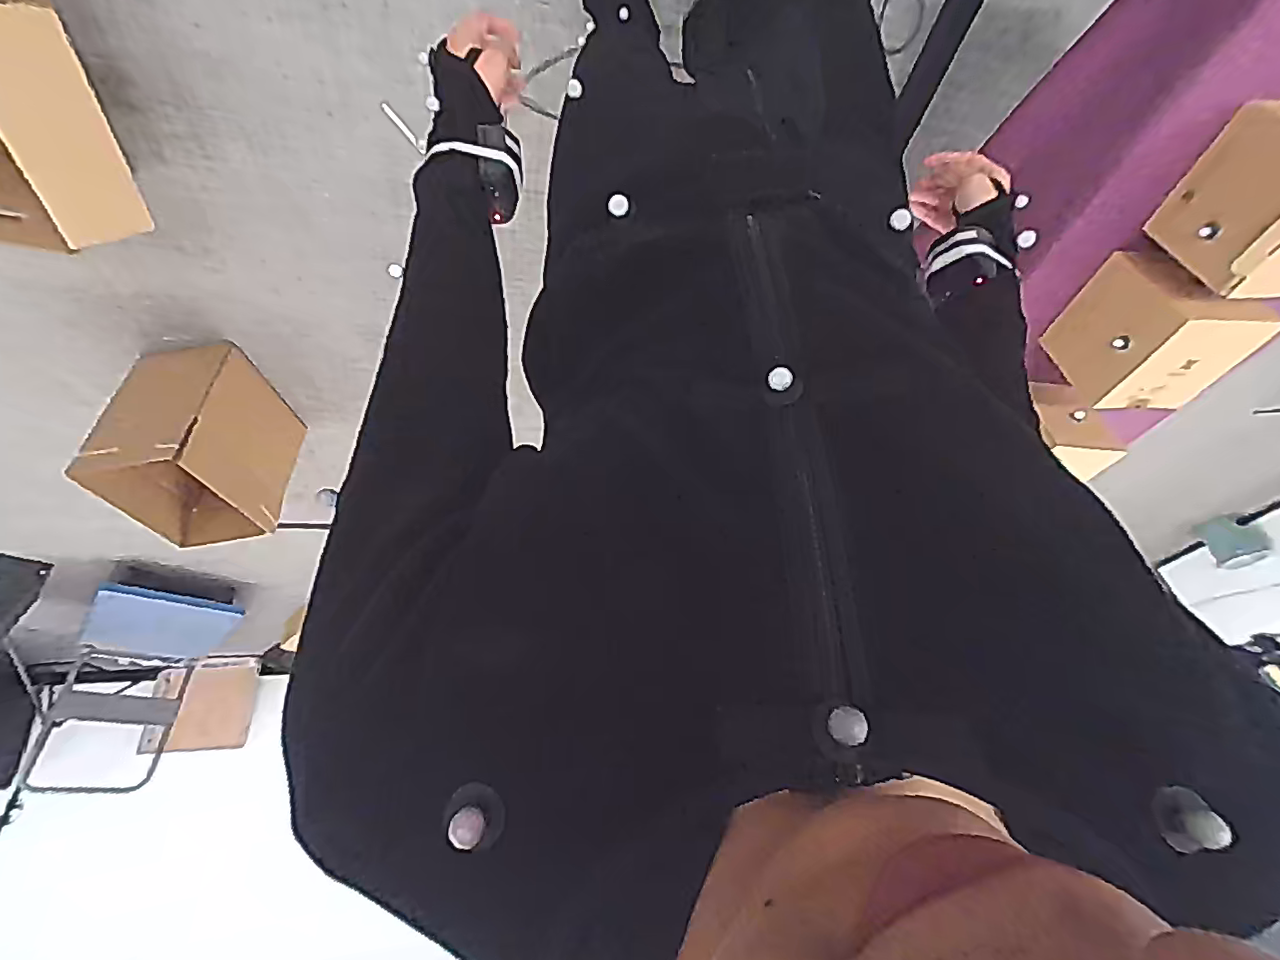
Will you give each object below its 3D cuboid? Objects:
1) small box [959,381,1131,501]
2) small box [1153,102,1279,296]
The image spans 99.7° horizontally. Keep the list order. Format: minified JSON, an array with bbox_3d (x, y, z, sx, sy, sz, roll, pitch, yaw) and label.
[{"bbox_3d":[0.779,-0.076,1.063,0.179,0.176,0.168,3,144,-14],"label":"small box"},{"bbox_3d":[0.830,-0.354,0.684,0.179,0.176,0.168,-3,145,-5],"label":"small box"}]
